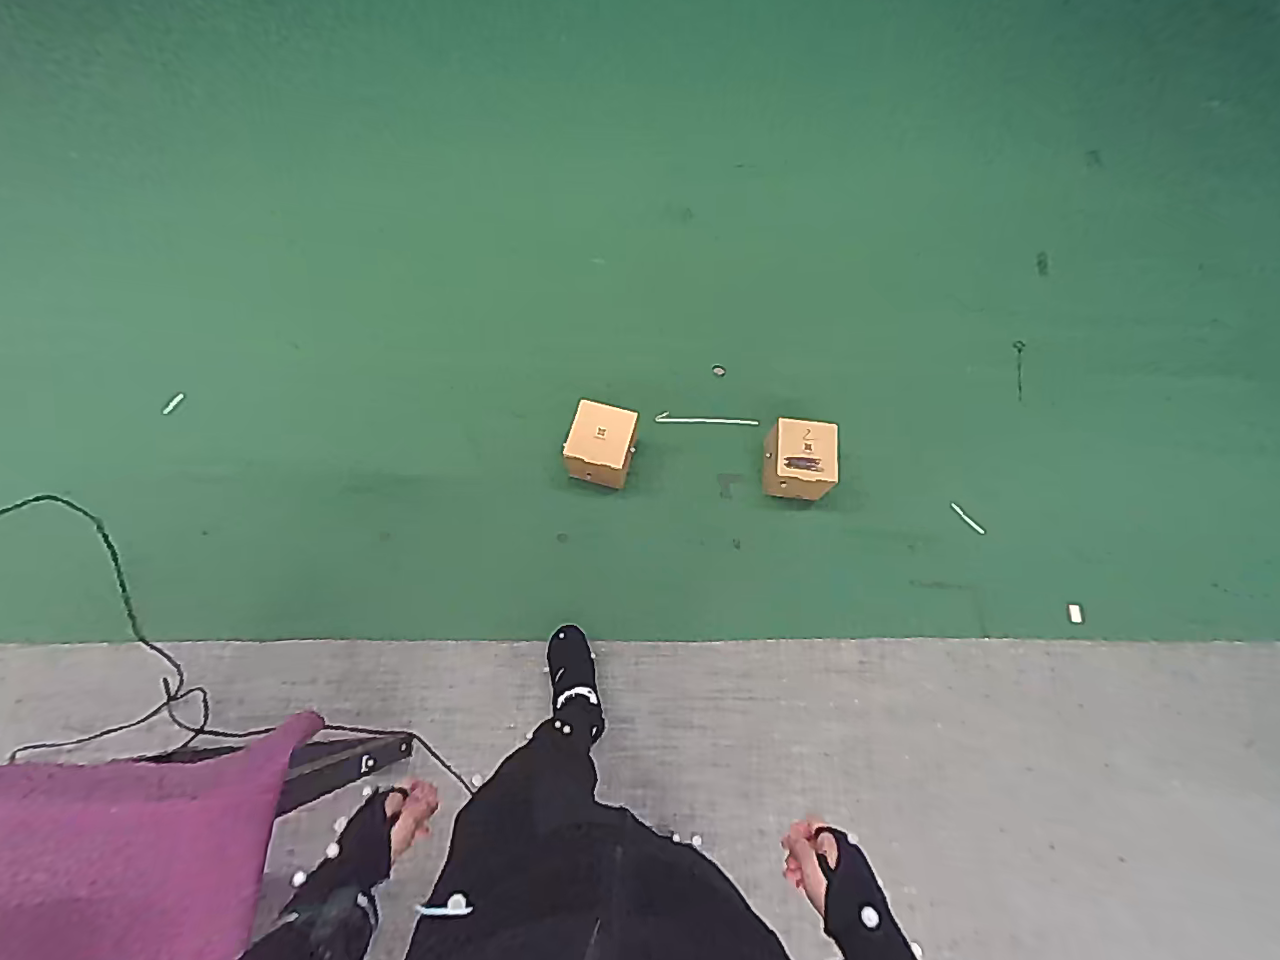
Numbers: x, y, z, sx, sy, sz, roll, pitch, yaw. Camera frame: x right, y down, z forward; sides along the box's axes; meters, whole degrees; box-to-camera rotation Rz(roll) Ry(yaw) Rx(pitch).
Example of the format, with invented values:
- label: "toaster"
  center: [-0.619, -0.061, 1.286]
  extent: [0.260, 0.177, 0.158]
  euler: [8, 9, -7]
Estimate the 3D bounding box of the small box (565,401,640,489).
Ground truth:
- label: "small box"
  center: [-0.105, -0.096, 1.542]
  extent: [0.168, 0.176, 0.179]
  euler: [14, 72, 3]
